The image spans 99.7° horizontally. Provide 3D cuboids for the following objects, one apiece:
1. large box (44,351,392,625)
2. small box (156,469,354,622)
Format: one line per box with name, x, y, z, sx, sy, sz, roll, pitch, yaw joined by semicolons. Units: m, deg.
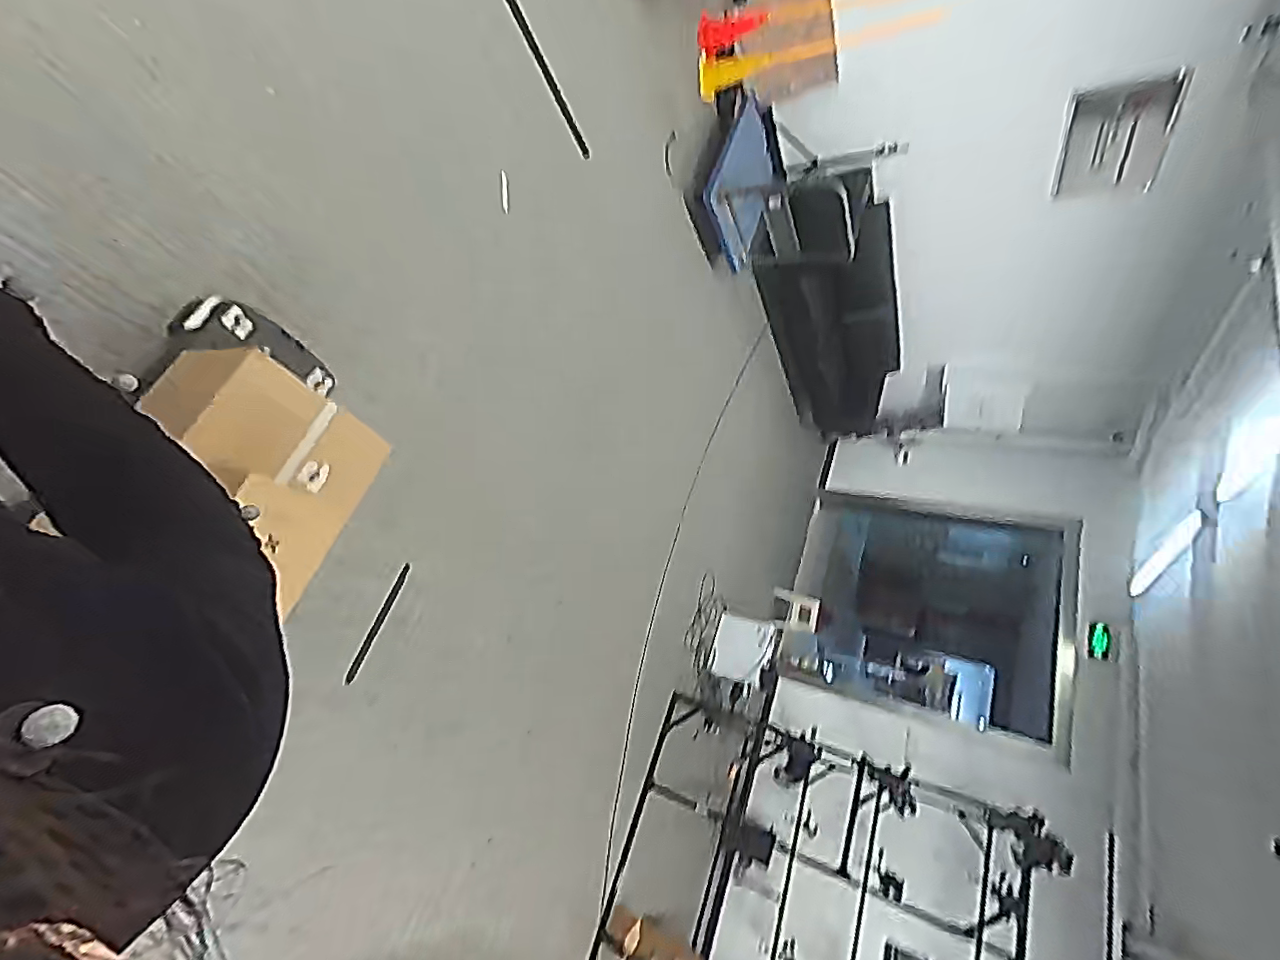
large box;-0.774;0.013;1.032;0.320;0.320;0.408;51;52;-51
small box;-0.606;0.098;0.851;0.168;0.176;0.179;50;54;-49
